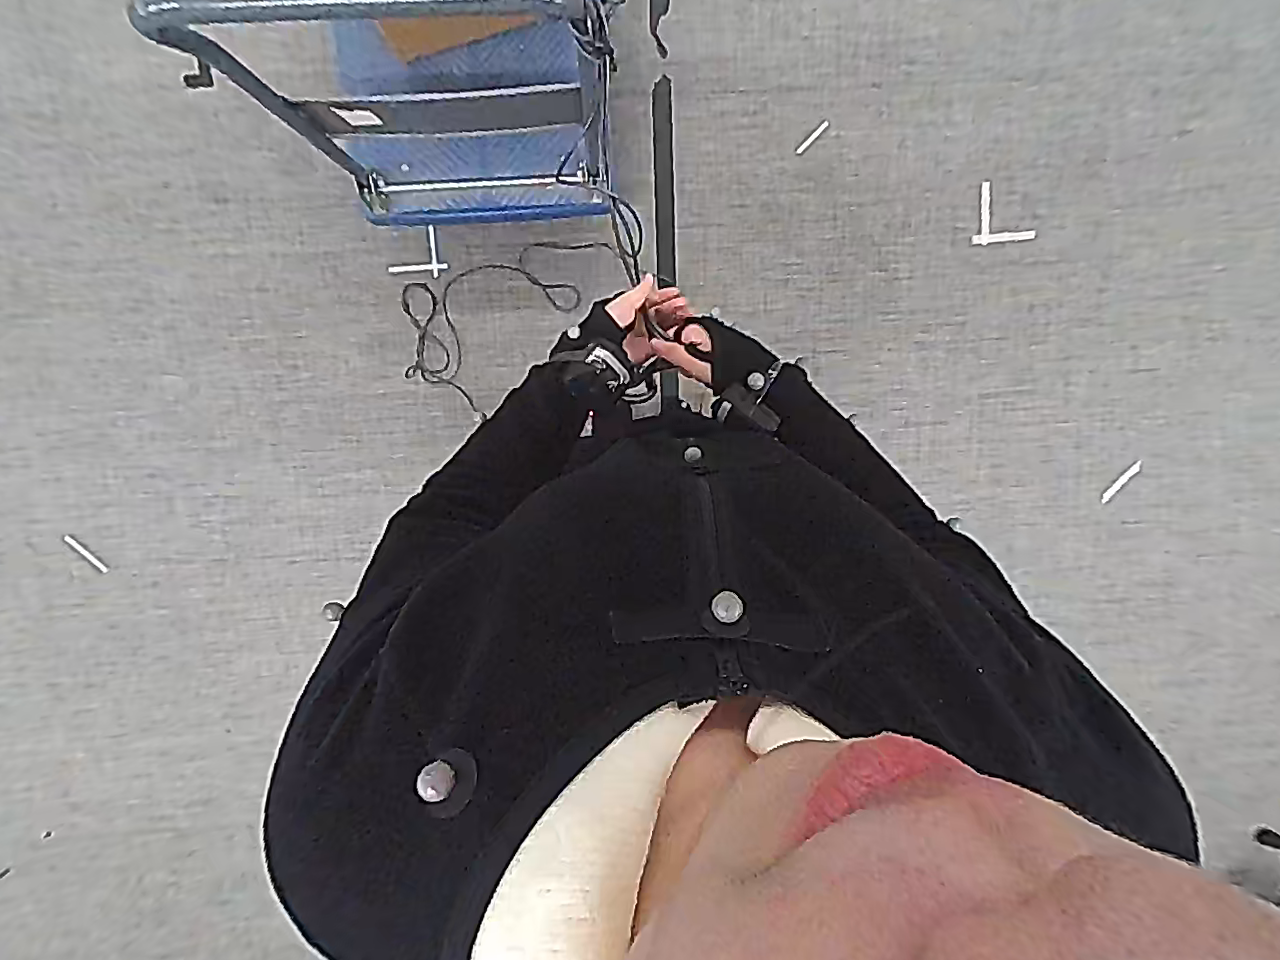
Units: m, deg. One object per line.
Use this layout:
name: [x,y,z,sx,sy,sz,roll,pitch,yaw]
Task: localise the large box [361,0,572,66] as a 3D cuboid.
large box: [-0.369,-1.071,0.997,0.408,0.320,0.320,-18,99,-1]
